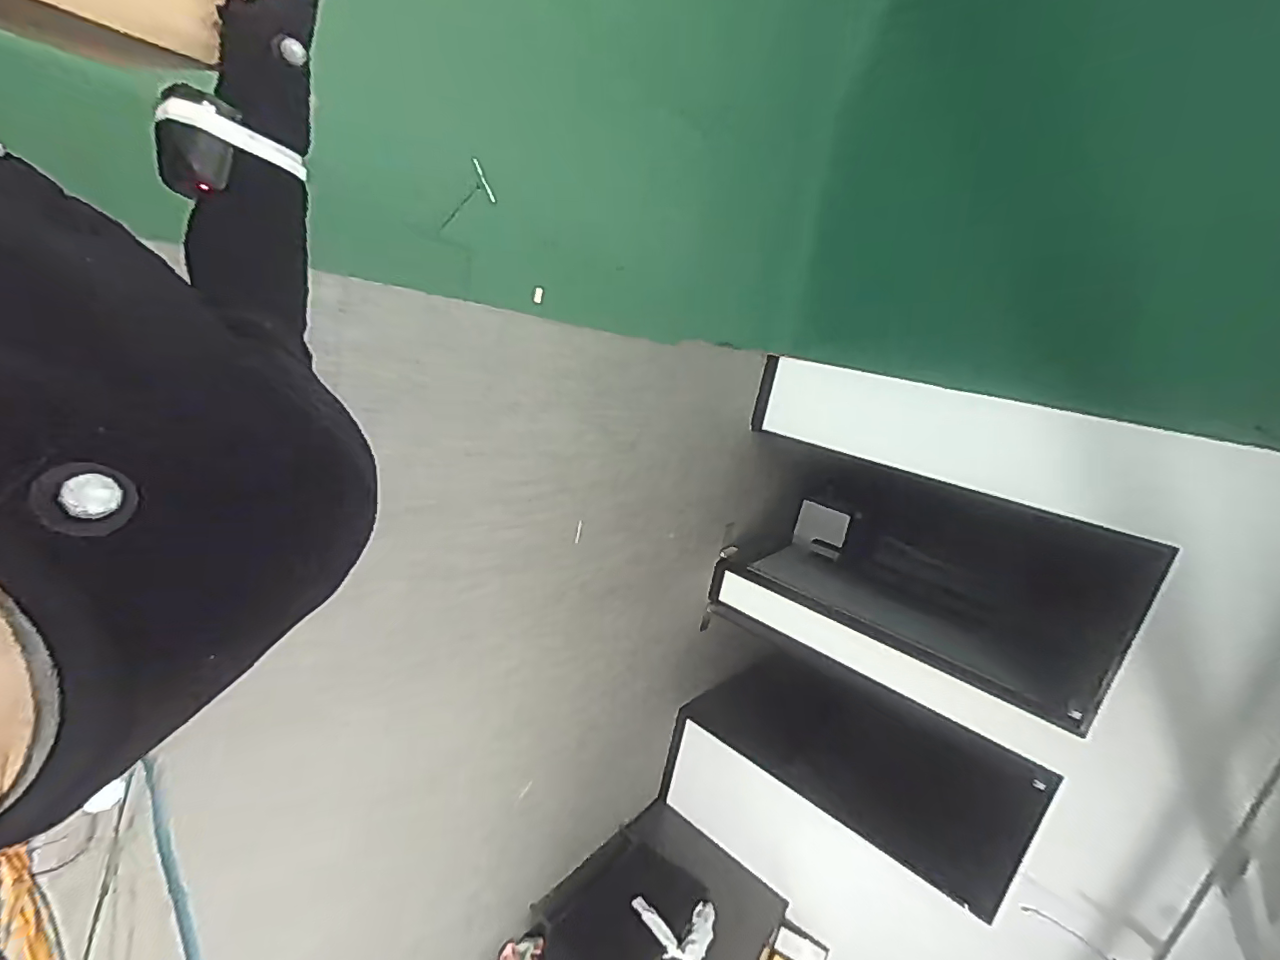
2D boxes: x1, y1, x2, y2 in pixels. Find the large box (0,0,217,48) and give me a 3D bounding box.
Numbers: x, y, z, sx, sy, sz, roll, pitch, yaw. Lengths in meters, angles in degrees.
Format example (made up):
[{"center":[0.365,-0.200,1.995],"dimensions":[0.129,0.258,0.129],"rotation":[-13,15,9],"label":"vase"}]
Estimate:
[{"center":[-0.508,-0.489,0.273],"dimensions":[0.408,0.320,0.320],"rotation":[-11,123,-51],"label":"large box"}]
